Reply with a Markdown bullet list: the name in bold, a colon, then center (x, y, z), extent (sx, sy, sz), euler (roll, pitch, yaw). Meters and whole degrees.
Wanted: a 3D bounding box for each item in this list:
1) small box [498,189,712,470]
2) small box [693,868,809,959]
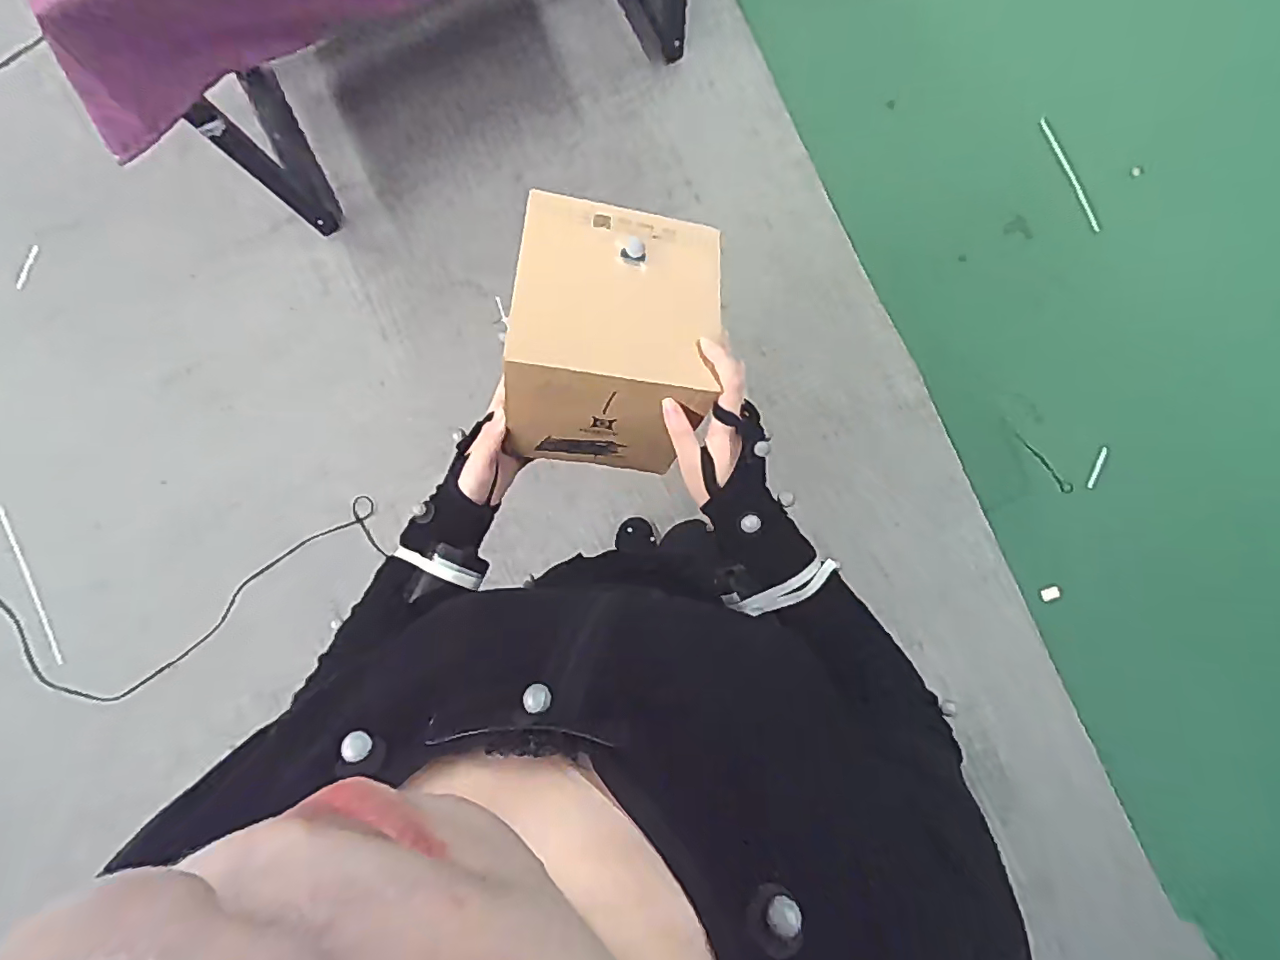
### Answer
- **small box**: center (-0.037, -0.126, 0.505), extent (0.168, 0.179, 0.176), euler (6, 67, -11)
- **small box**: center (0.197, 0.808, 0.921), extent (0.168, 0.176, 0.179), euler (-21, 86, 0)
